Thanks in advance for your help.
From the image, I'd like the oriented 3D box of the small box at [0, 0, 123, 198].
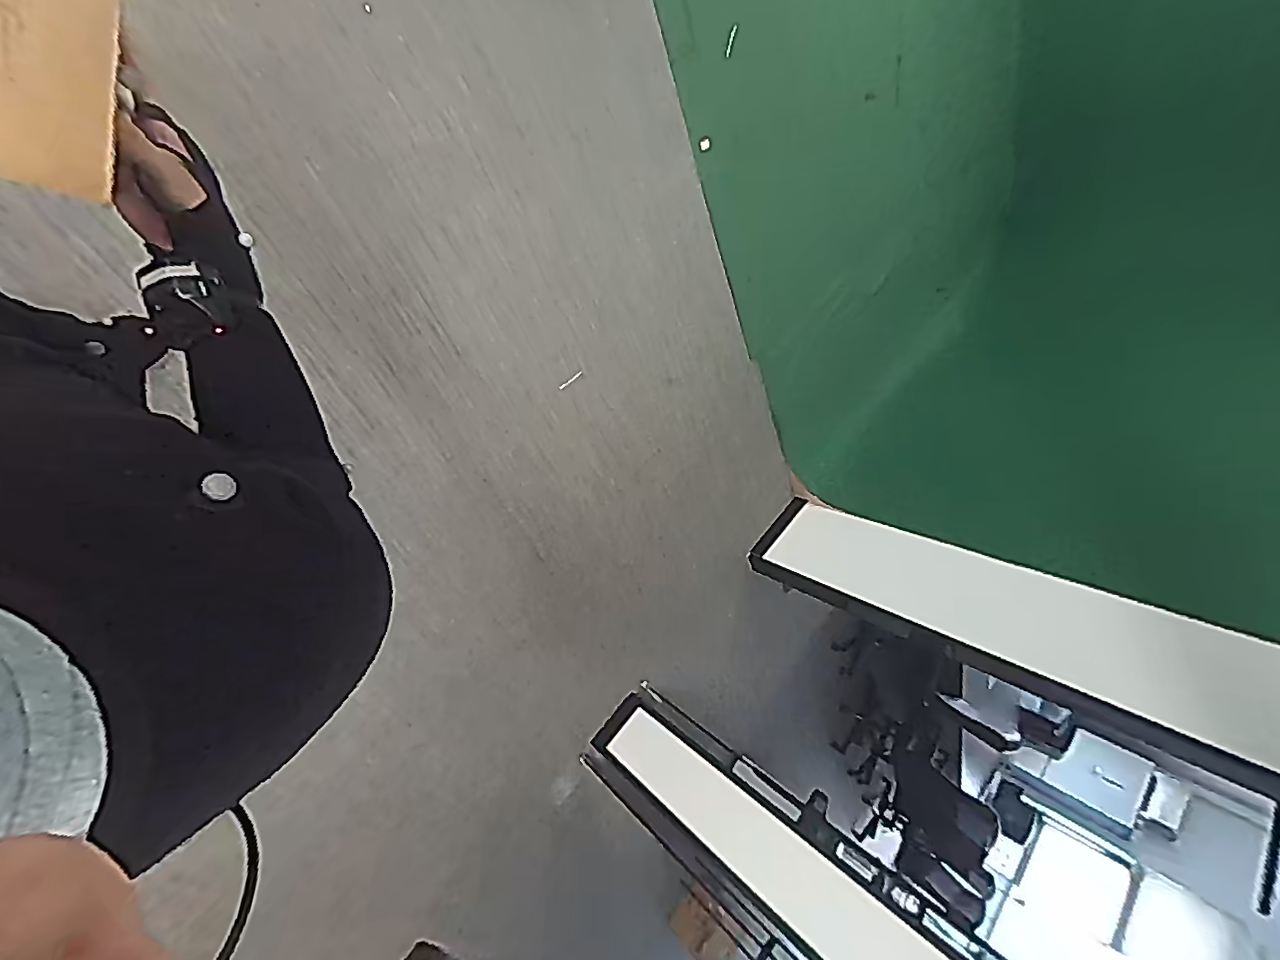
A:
[{"bbox_3d":[-0.417,-0.292,0.304,0.179,0.176,0.168,0,123,-47],"label":"small box"}]
